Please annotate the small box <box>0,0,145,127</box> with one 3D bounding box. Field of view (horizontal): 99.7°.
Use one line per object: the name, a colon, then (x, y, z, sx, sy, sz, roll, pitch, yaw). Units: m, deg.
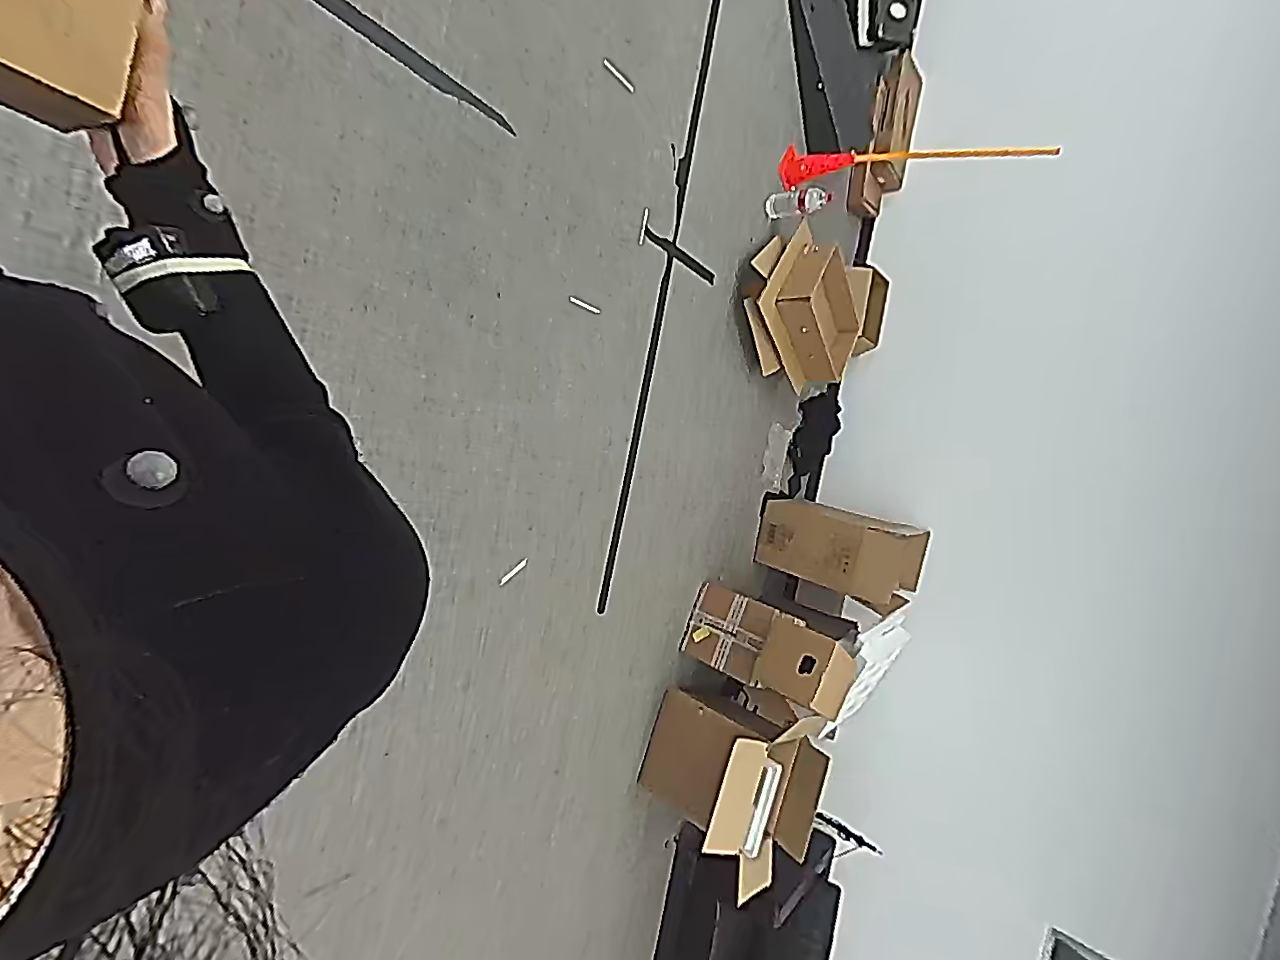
small box: (-0.408, -0.336, 0.309, 0.168, 0.176, 0.179, 9, 99, -57)
